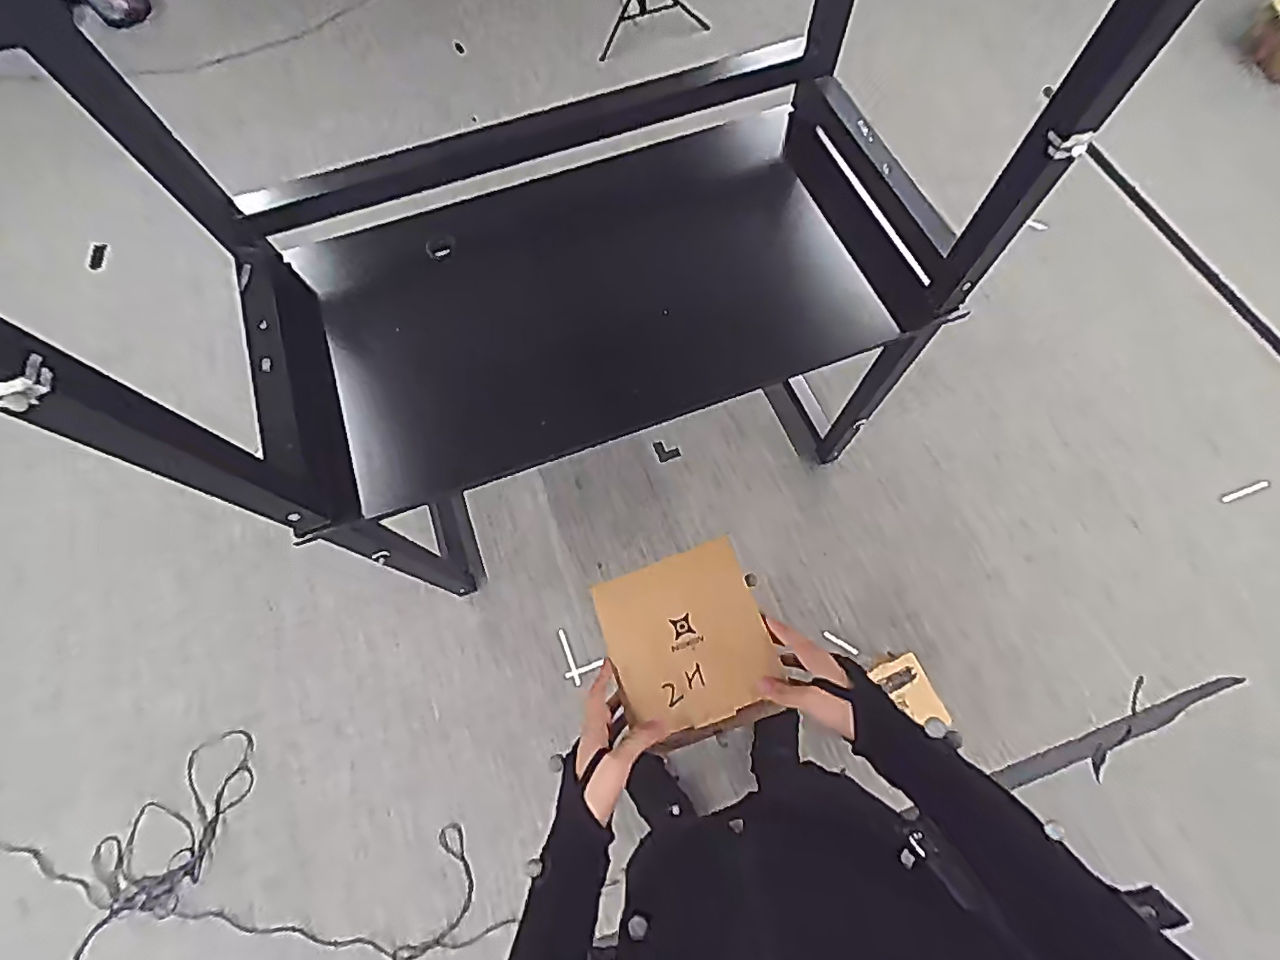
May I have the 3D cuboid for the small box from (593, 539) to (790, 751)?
[{"bbox_3d":[0.058,0.199,0.633,0.168,0.176,0.179,-20,60,0],"label":"small box"}]
